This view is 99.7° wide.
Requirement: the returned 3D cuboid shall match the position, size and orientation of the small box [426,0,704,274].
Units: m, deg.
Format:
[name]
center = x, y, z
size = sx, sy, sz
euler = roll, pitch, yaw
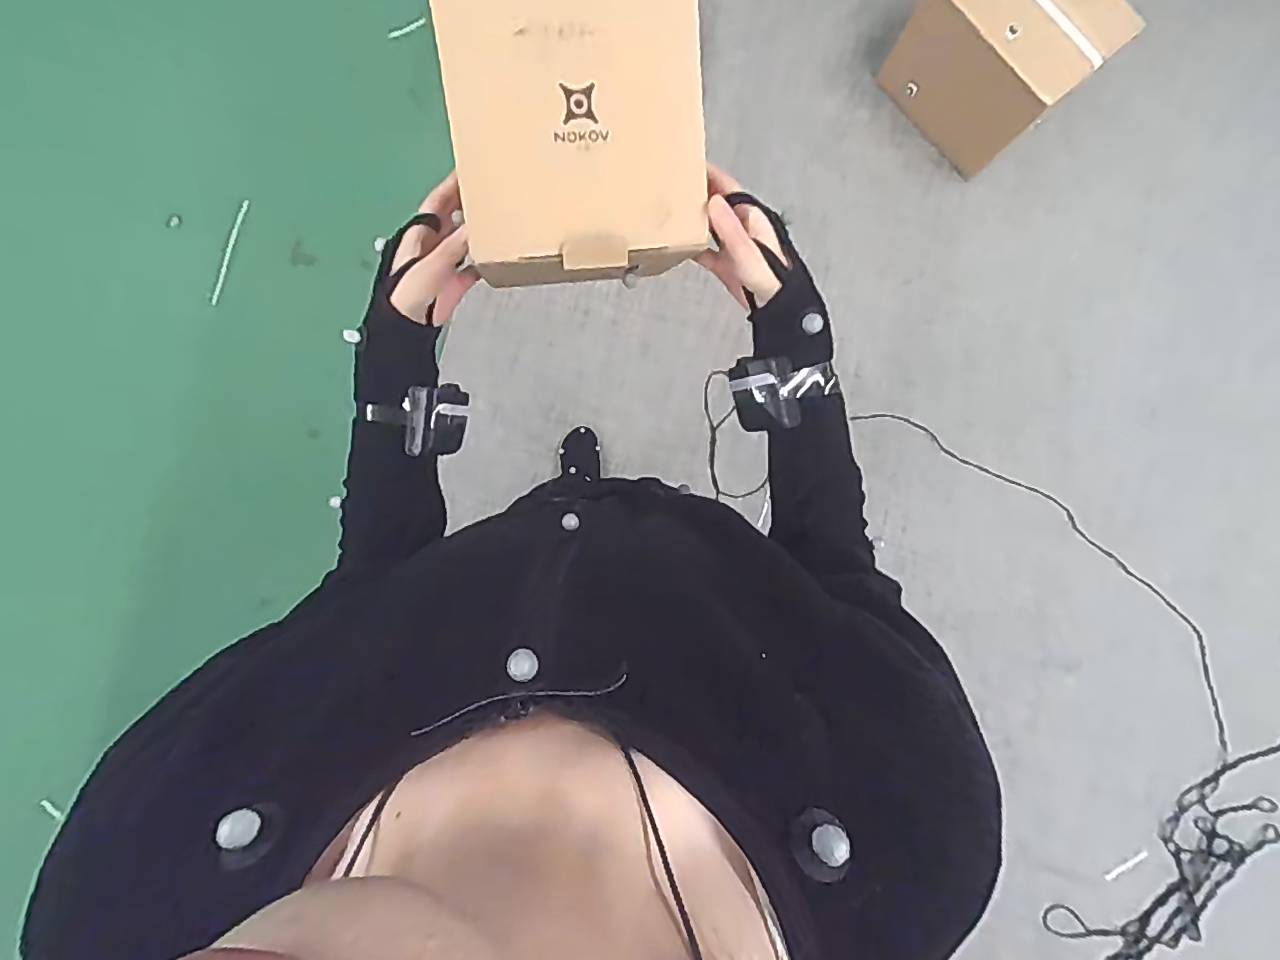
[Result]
[small box]
center = -0.055, -0.259, 0.415
size = 0.168, 0.176, 0.179
euler = -7, 105, -9
